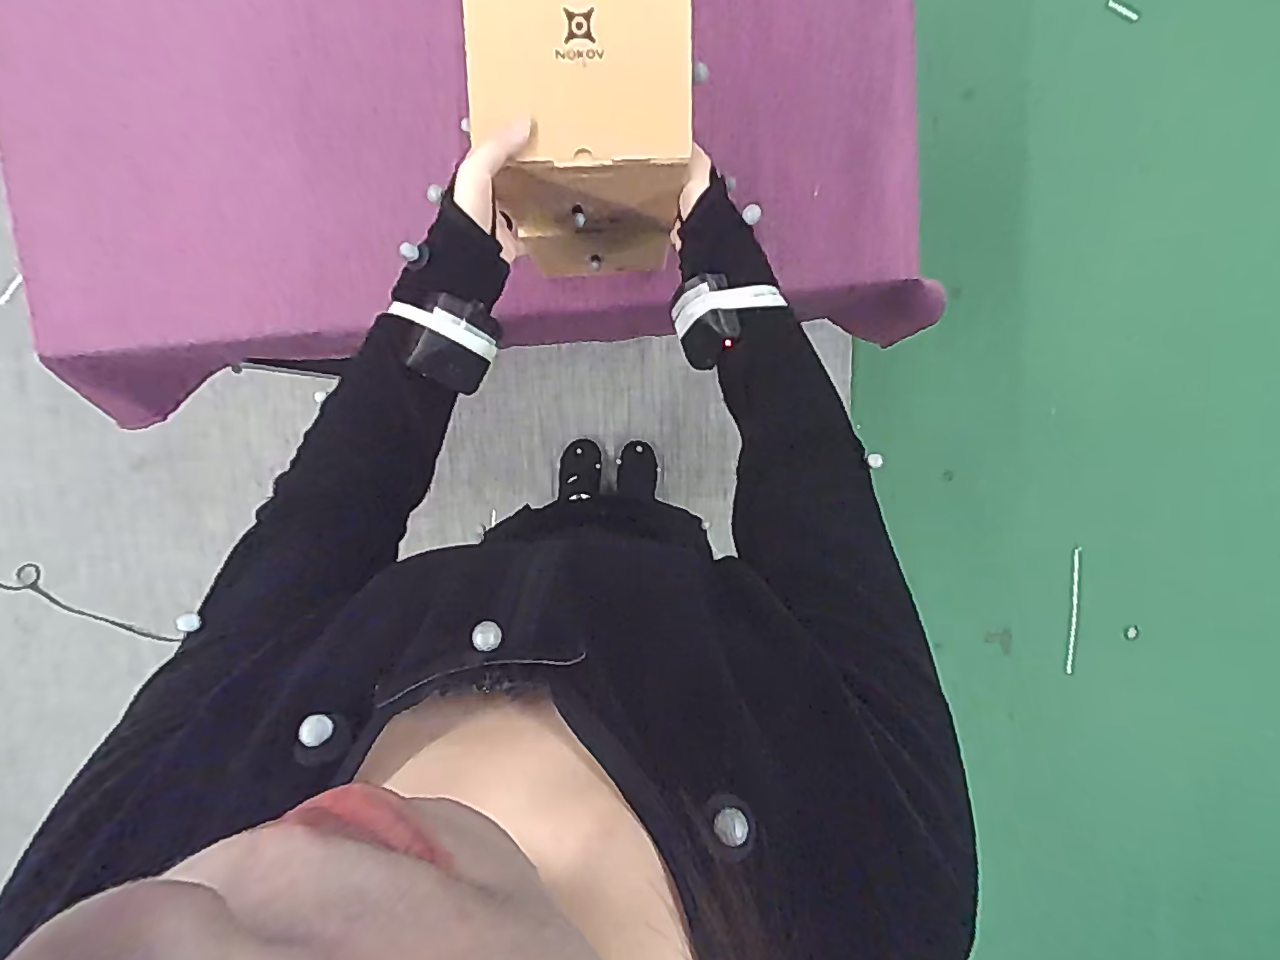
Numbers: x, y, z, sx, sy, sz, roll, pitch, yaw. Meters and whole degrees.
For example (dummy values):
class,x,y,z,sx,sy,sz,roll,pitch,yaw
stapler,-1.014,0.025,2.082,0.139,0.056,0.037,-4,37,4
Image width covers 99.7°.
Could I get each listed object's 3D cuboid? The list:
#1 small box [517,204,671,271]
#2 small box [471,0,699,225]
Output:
class,x,y,z,sx,sy,sz,roll,pitch,yaw
small box,-0.051,-0.356,0.641,0.168,0.176,0.179,-4,97,0
small box,-0.042,-0.336,0.467,0.168,0.176,0.179,-2,102,-1
